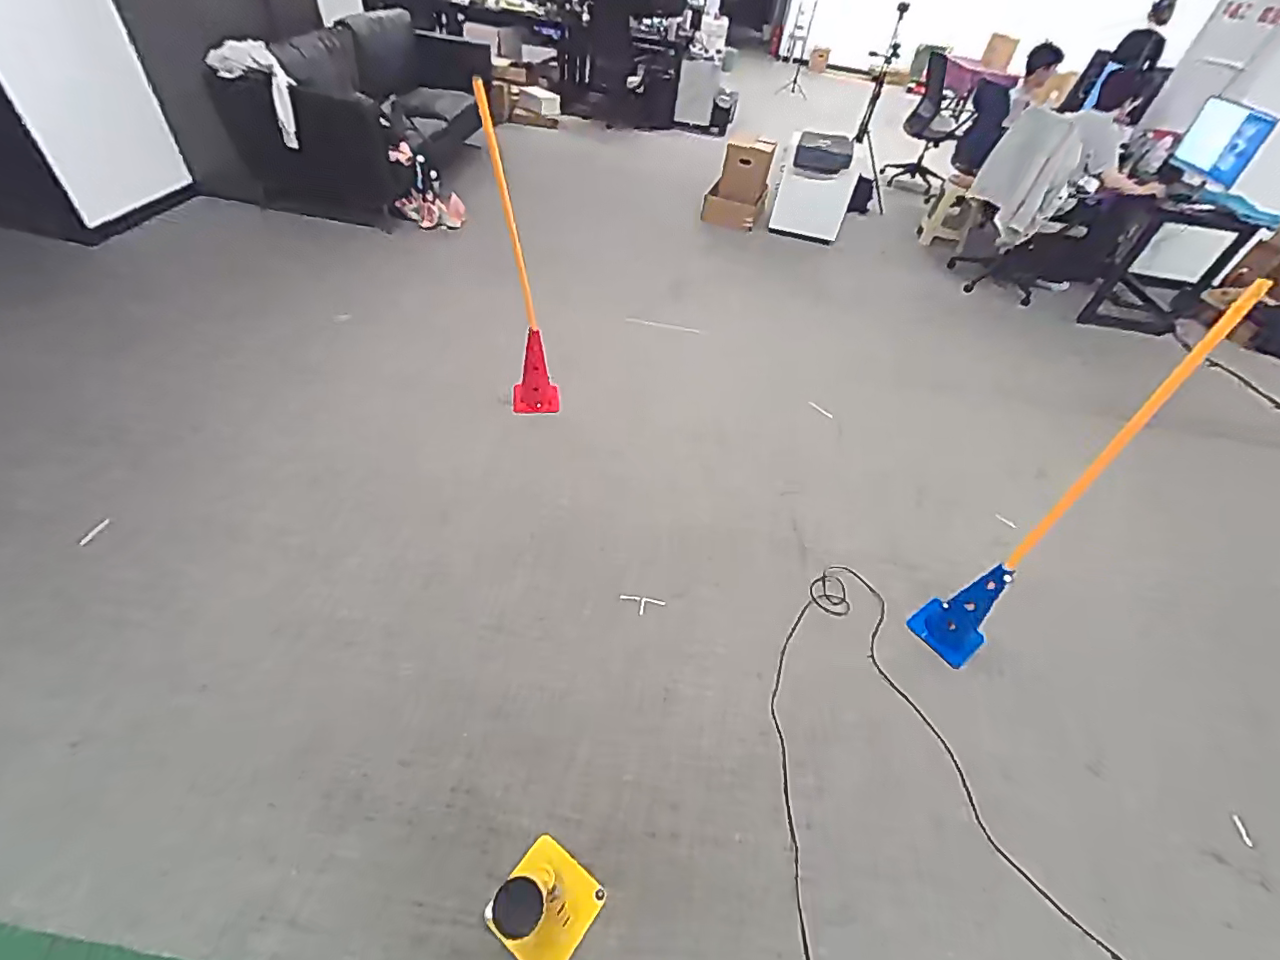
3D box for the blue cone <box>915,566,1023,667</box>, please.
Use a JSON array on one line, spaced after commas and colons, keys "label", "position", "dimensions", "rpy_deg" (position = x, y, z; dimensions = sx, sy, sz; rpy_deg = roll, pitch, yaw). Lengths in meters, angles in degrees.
[{"label": "blue cone", "position": [1.045, 0.387, 1.676], "dimensions": [0.193, 0.380, 0.192], "rpy_deg": [-24, 53, -31]}]
